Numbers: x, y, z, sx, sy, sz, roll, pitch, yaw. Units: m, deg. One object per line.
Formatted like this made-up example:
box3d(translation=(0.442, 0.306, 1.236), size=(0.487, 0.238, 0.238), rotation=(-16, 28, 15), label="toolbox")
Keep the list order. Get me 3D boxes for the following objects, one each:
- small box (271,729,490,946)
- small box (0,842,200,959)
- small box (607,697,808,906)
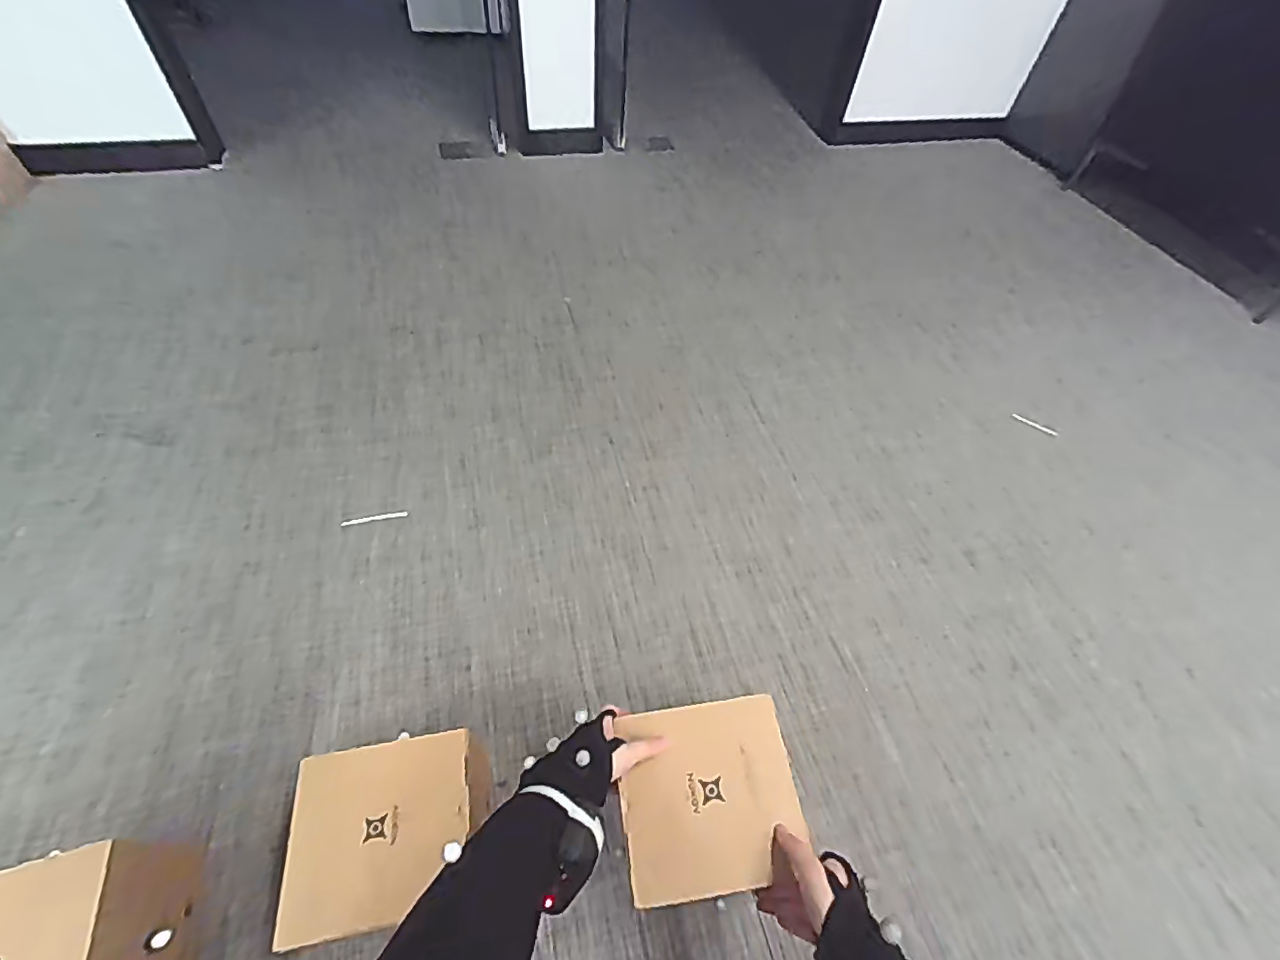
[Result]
box3d(translation=(-0.275, 0.406, 0.618), size=(0.179, 0.176, 0.168), rotation=(-6, 53, -11), label="small box")
box3d(translation=(-0.580, 0.481, 0.529), size=(0.179, 0.176, 0.168), rotation=(-11, 54, -14), label="small box")
box3d(translation=(0.064, 0.358, 0.604), size=(0.179, 0.176, 0.168), rotation=(-7, 56, -3), label="small box")
